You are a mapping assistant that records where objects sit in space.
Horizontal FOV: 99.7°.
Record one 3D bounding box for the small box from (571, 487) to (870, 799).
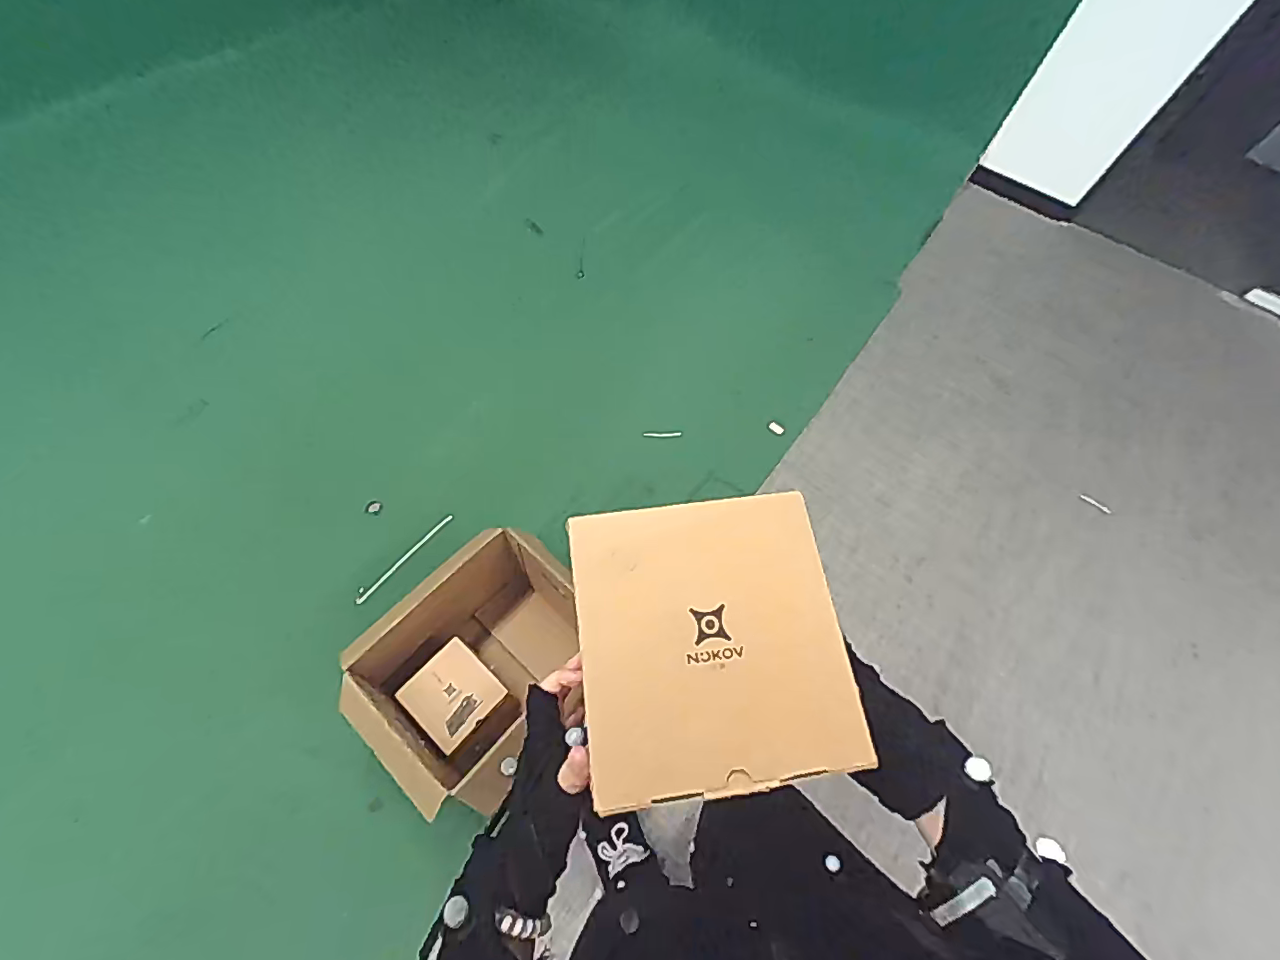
[{"bbox_3d":[0.037,0.123,0.411,0.168,0.176,0.179,-6,67,-6],"label":"small box"}]
